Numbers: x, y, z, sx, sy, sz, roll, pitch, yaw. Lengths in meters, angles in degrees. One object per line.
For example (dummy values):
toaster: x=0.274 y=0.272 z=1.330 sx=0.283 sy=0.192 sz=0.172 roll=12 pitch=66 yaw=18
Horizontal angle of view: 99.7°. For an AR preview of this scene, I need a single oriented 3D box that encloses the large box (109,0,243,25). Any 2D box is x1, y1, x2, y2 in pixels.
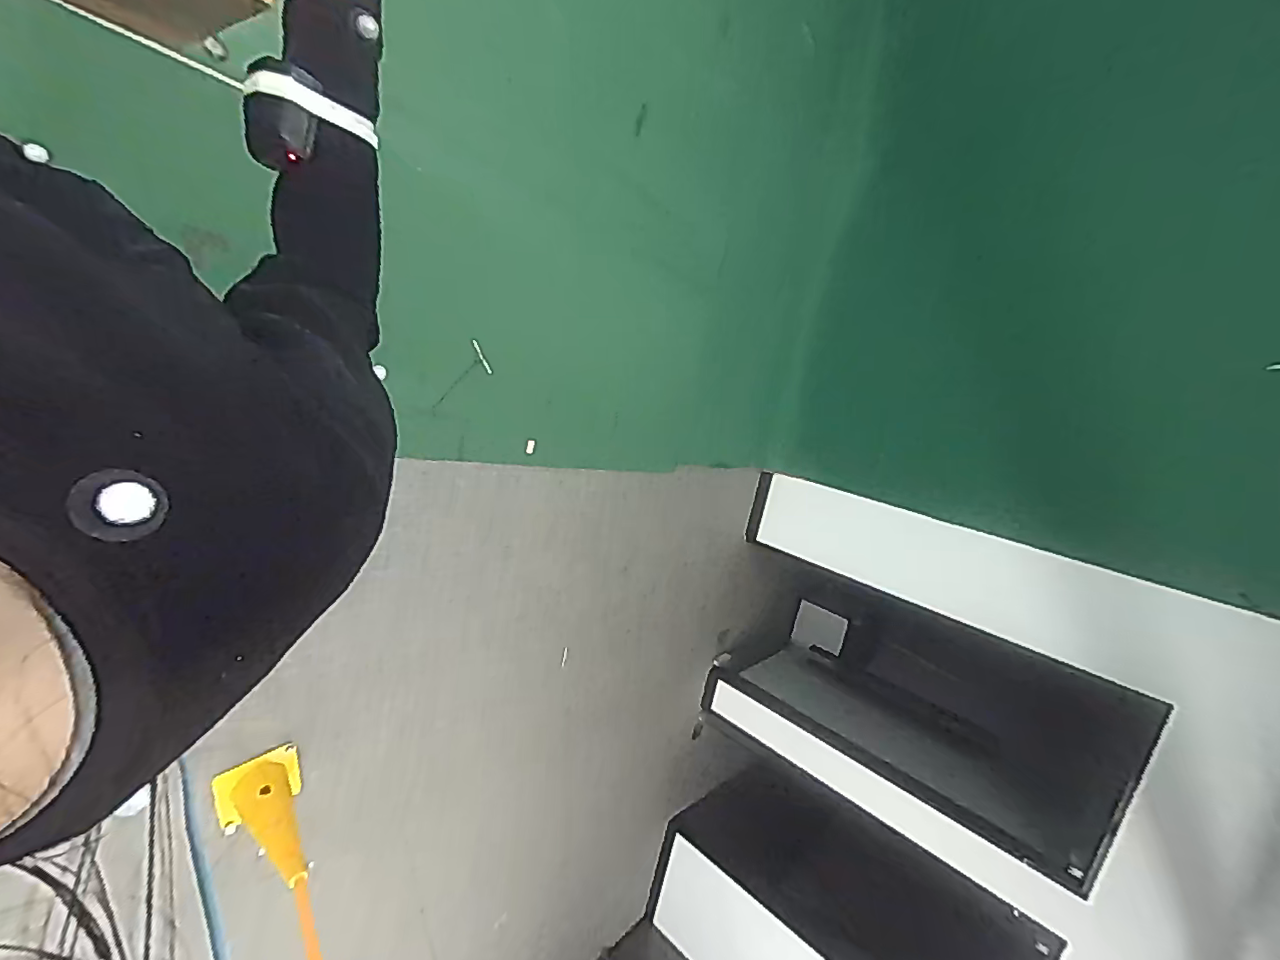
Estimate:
large box: x=-0.455 y=-0.526 z=0.273 sx=0.408 sy=0.320 sz=0.320 roll=-3 pitch=115 yaw=-49
